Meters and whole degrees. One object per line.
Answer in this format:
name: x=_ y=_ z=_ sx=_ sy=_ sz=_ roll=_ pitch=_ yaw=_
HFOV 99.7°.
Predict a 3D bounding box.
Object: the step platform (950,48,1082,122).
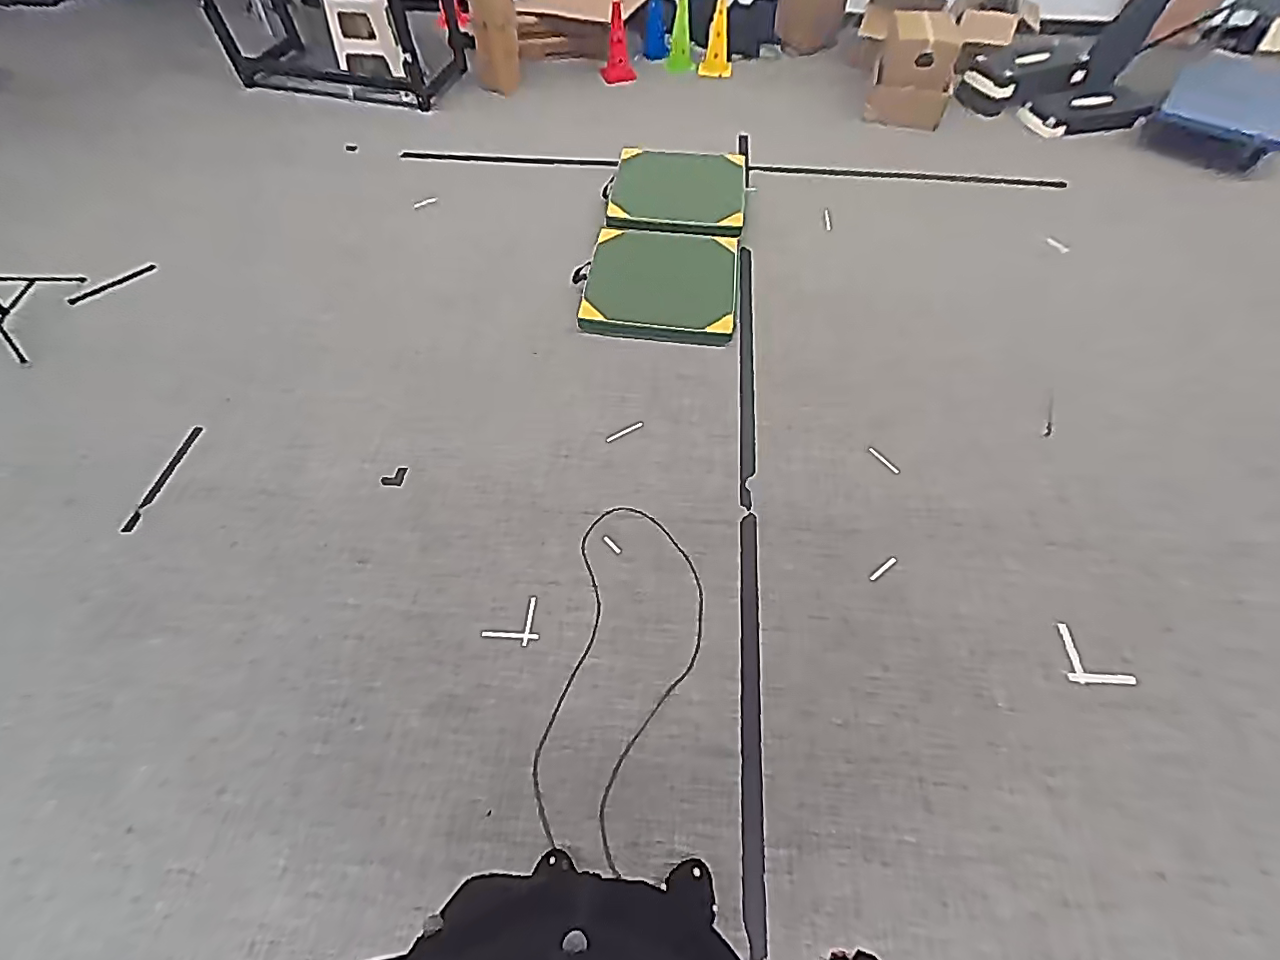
step platform: x=2.172 y=-2.287 z=3.123 sx=0.684 sy=0.204 sz=0.286 roll=-20 pitch=60 yaw=-13
